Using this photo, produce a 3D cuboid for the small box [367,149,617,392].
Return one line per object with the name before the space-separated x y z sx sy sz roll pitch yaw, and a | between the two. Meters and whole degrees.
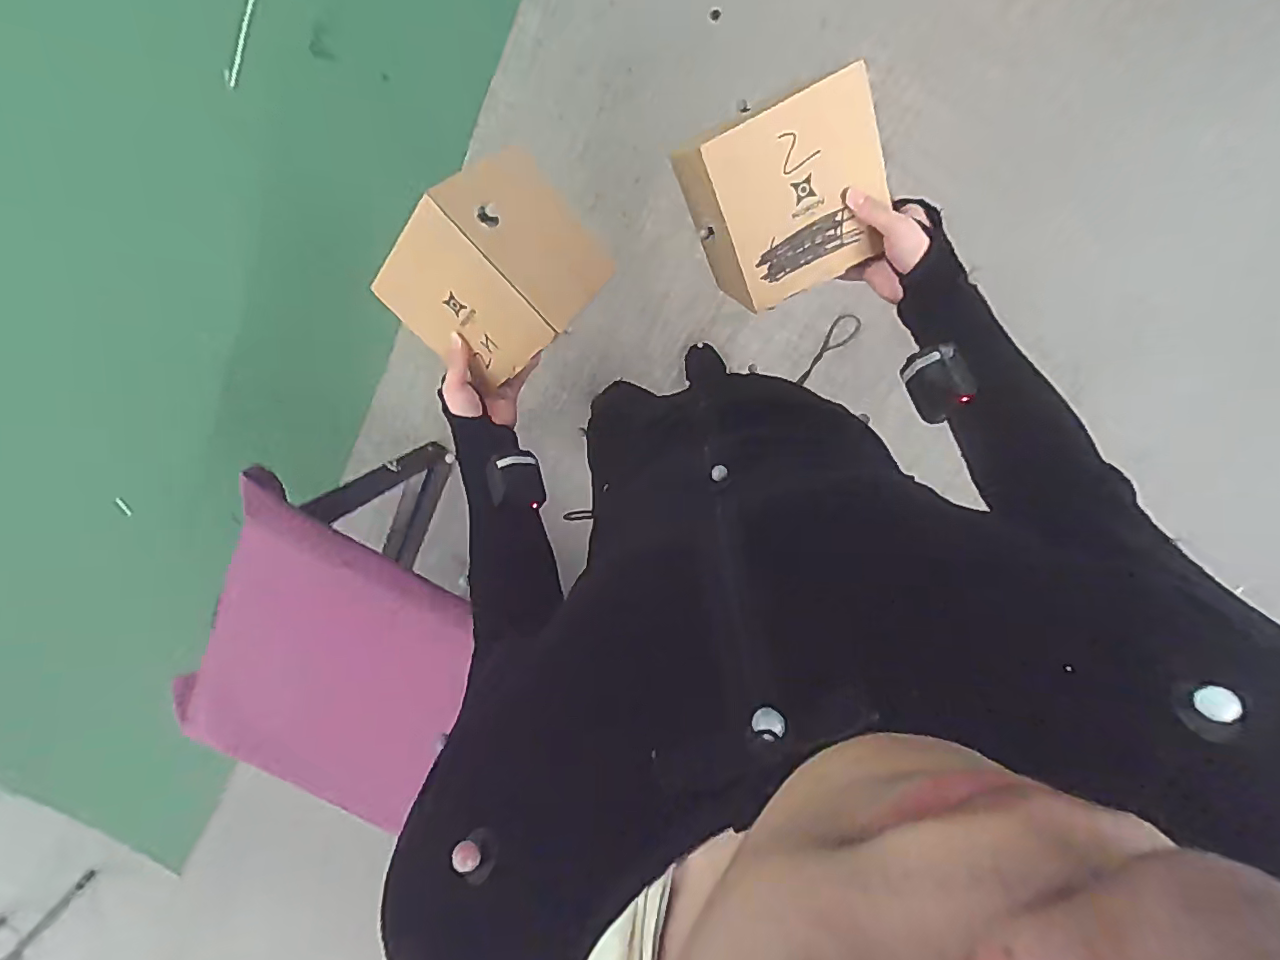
small box | -0.159 -0.239 0.613 0.168 0.176 0.179 -22 119 44
